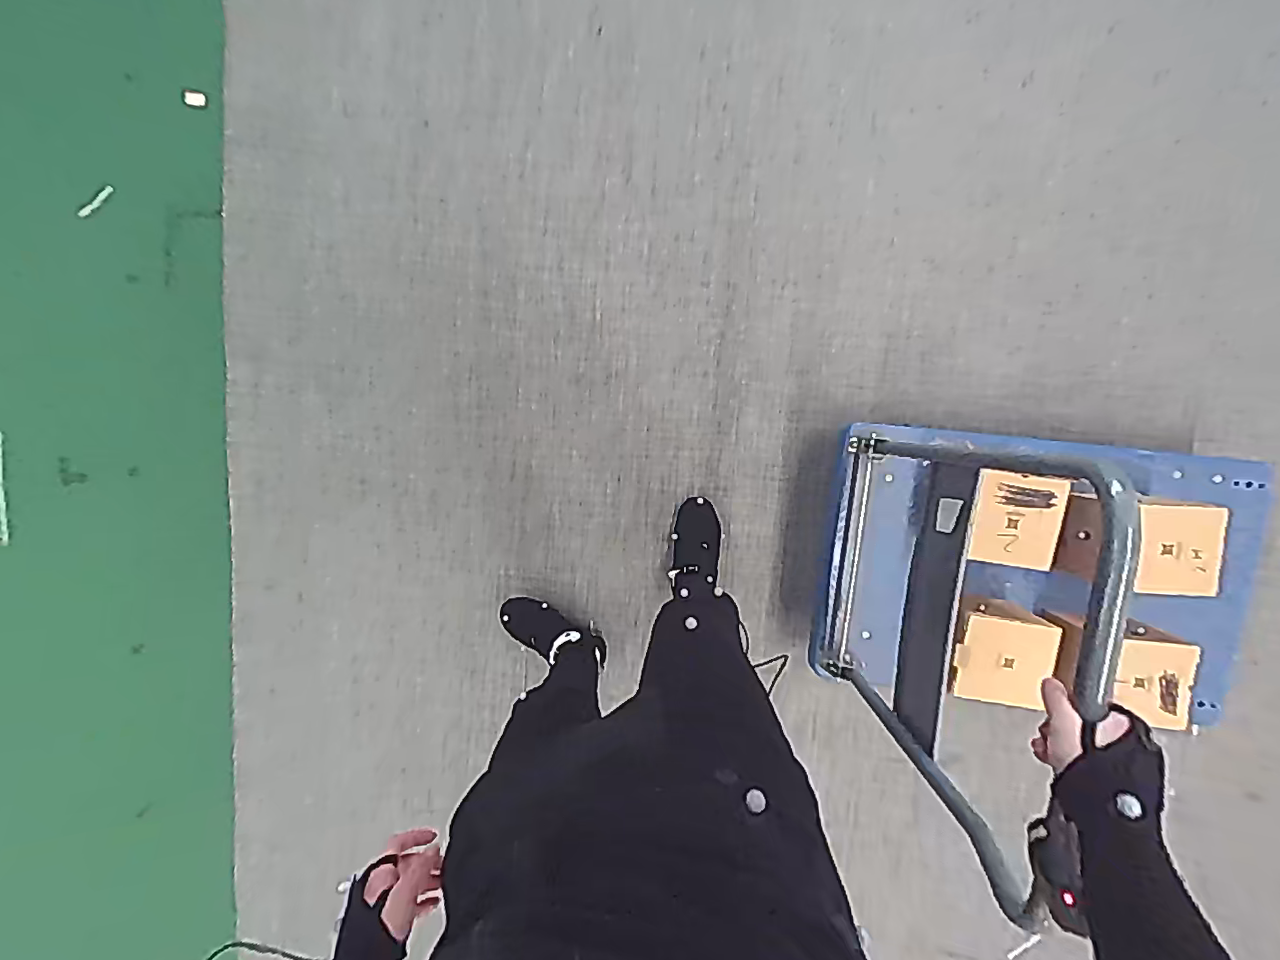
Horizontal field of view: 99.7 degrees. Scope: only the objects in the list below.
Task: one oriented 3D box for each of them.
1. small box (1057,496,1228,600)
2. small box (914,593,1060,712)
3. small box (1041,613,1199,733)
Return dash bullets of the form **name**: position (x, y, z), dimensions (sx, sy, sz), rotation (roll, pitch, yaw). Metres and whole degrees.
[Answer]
- **small box**: position (0.963, 0.124, 1.056), dimensions (0.179, 0.176, 0.168), rotation (3, 96, 4)
- **small box**: position (0.691, 0.340, 1.096), dimensions (0.179, 0.176, 0.168), rotation (9, 96, 4)
- **small box**: position (0.936, 0.376, 1.081), dimensions (0.179, 0.176, 0.168), rotation (5, 95, 4)
